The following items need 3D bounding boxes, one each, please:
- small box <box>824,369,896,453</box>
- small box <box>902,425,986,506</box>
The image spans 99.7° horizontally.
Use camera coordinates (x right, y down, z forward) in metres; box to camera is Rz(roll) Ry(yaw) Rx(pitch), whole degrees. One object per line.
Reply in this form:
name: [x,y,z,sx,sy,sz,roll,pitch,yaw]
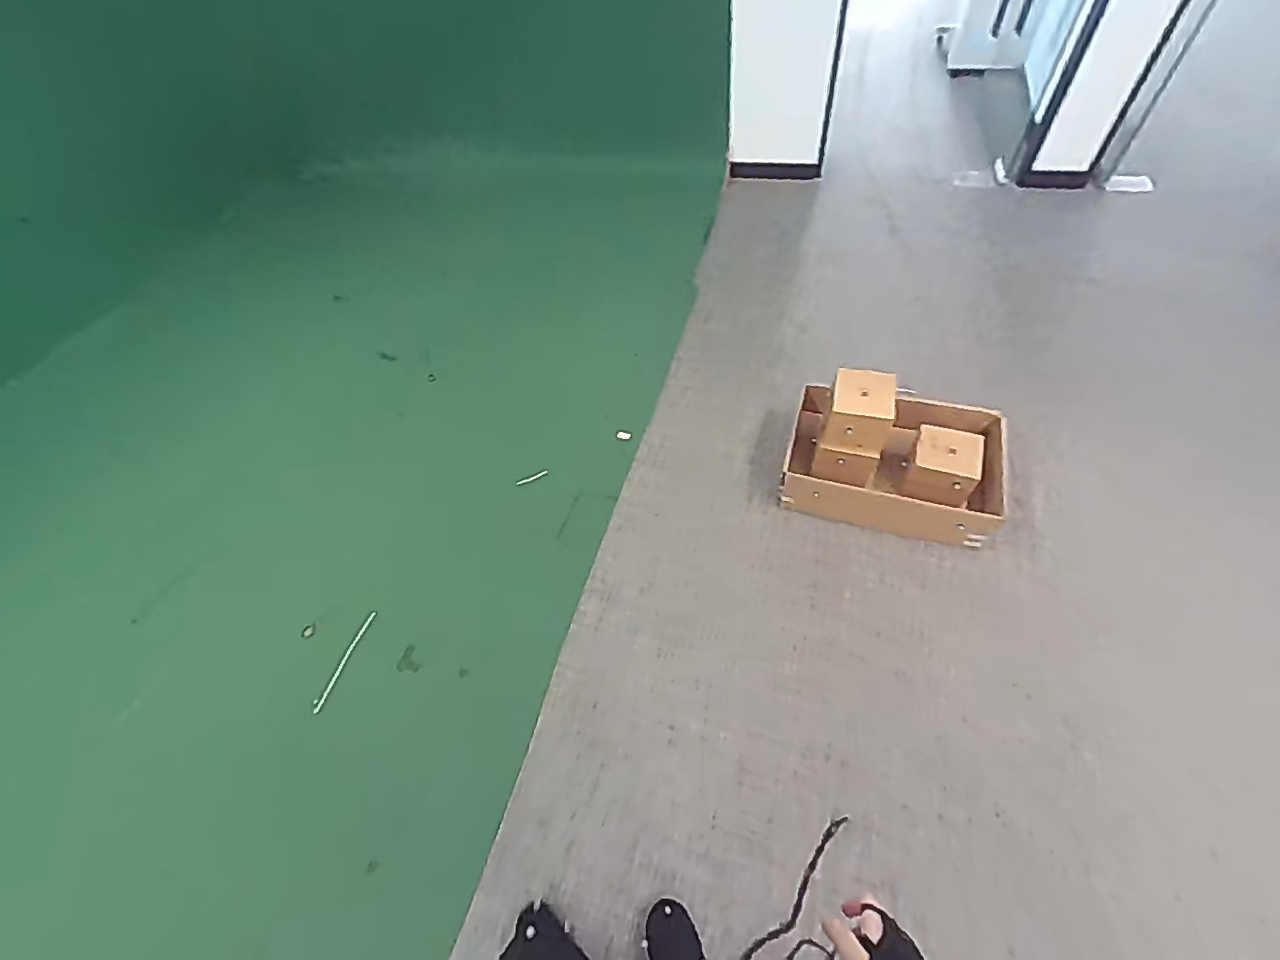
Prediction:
small box: [0.648,-0.201,1.602,0.168,0.176,0.179,9,58,13]
small box: [0.923,-0.039,1.649,0.179,0.176,0.168,15,60,19]
